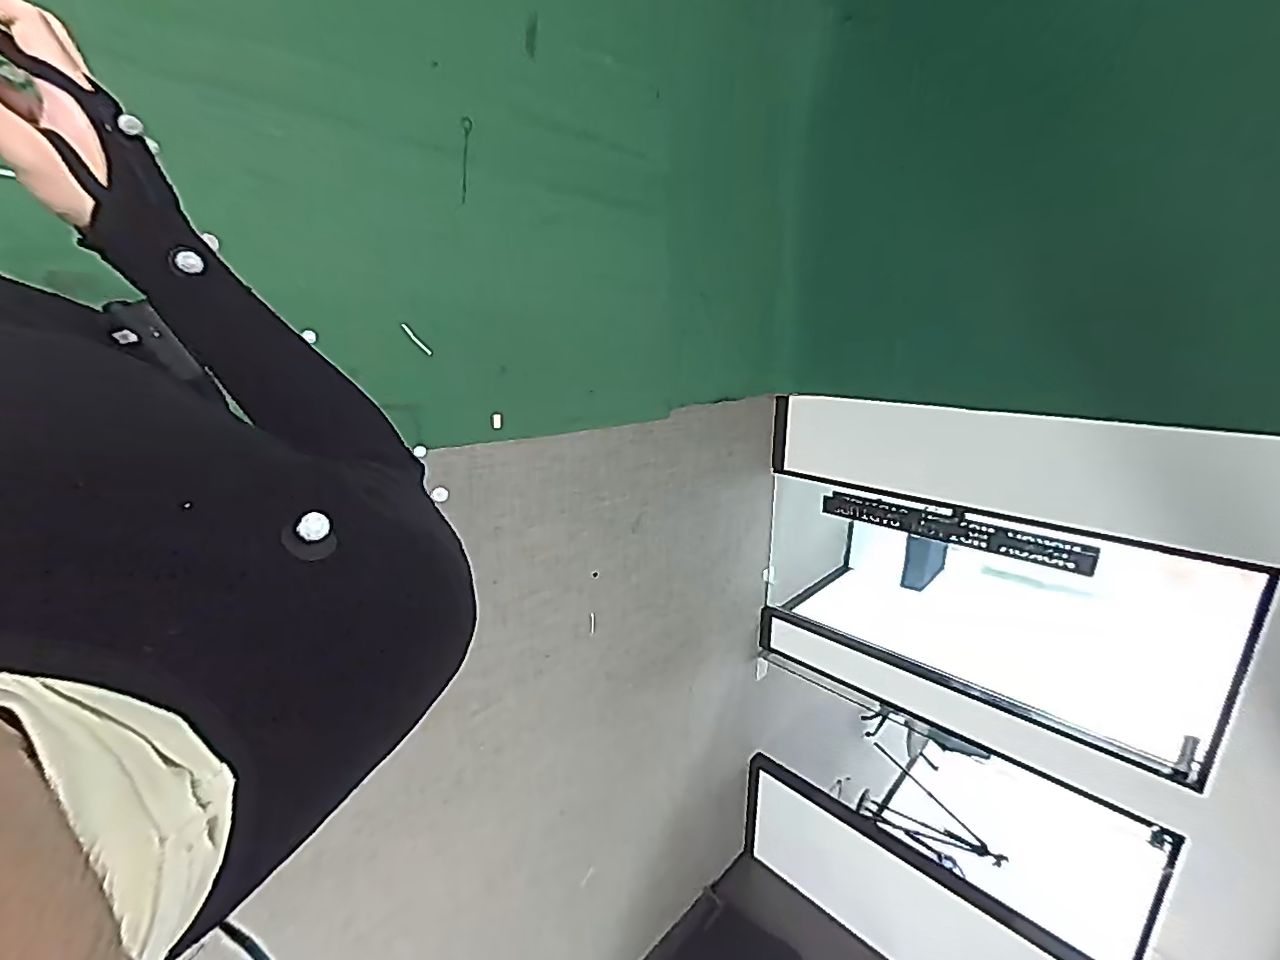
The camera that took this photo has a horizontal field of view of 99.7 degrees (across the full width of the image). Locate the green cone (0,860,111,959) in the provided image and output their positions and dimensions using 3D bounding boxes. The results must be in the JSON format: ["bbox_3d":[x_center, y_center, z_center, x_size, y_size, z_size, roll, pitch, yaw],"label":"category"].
[{"bbox_3d":[-1.255,1.040,1.129,0.202,0.368,0.200,-13,110,-43],"label":"green cone"}]
